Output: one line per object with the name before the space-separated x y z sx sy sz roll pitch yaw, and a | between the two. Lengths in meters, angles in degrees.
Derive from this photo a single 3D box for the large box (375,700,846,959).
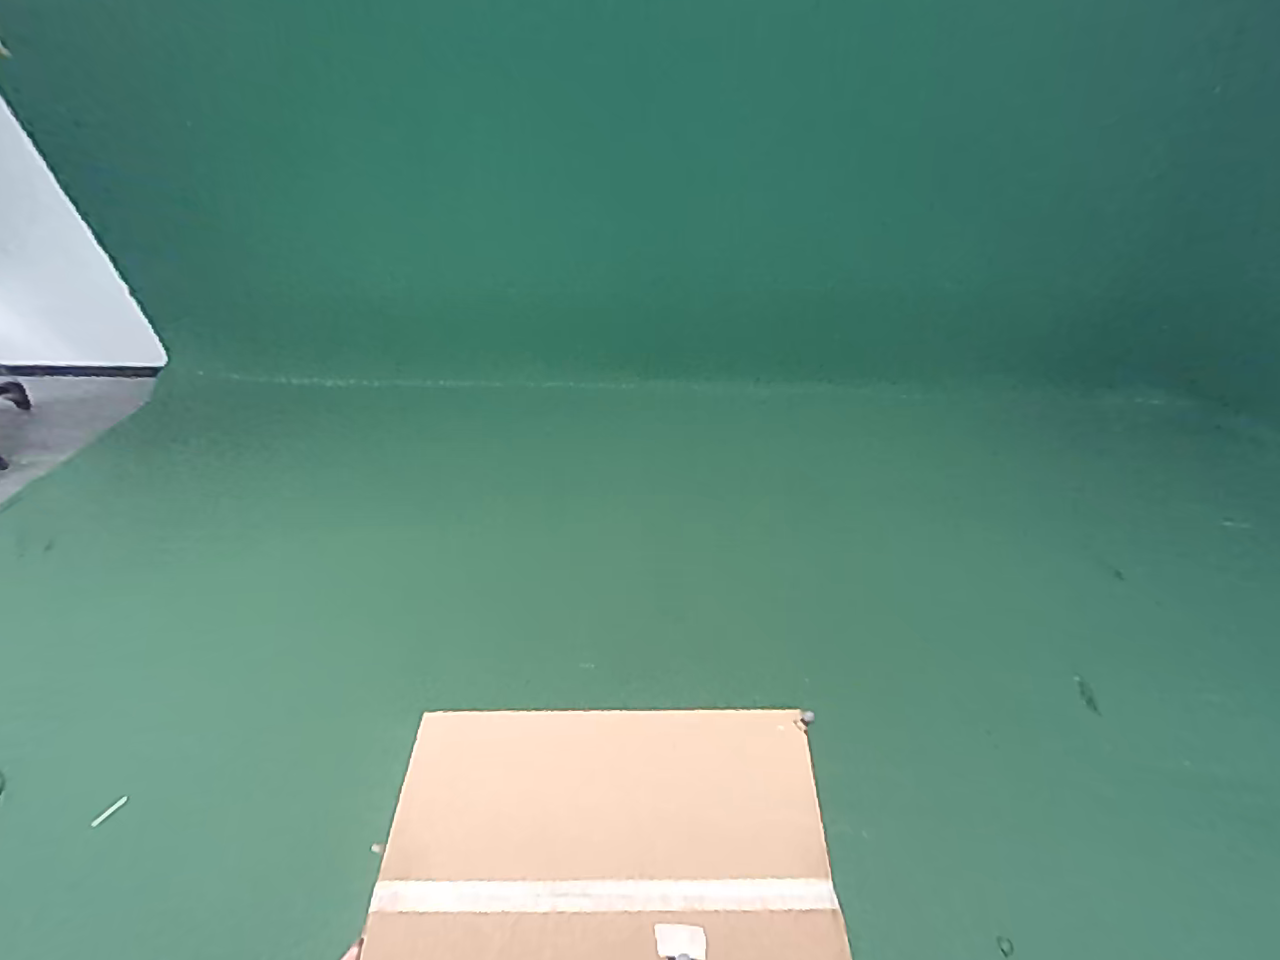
large box | -0.025 0.458 0.600 0.408 0.320 0.320 -1 49 1
